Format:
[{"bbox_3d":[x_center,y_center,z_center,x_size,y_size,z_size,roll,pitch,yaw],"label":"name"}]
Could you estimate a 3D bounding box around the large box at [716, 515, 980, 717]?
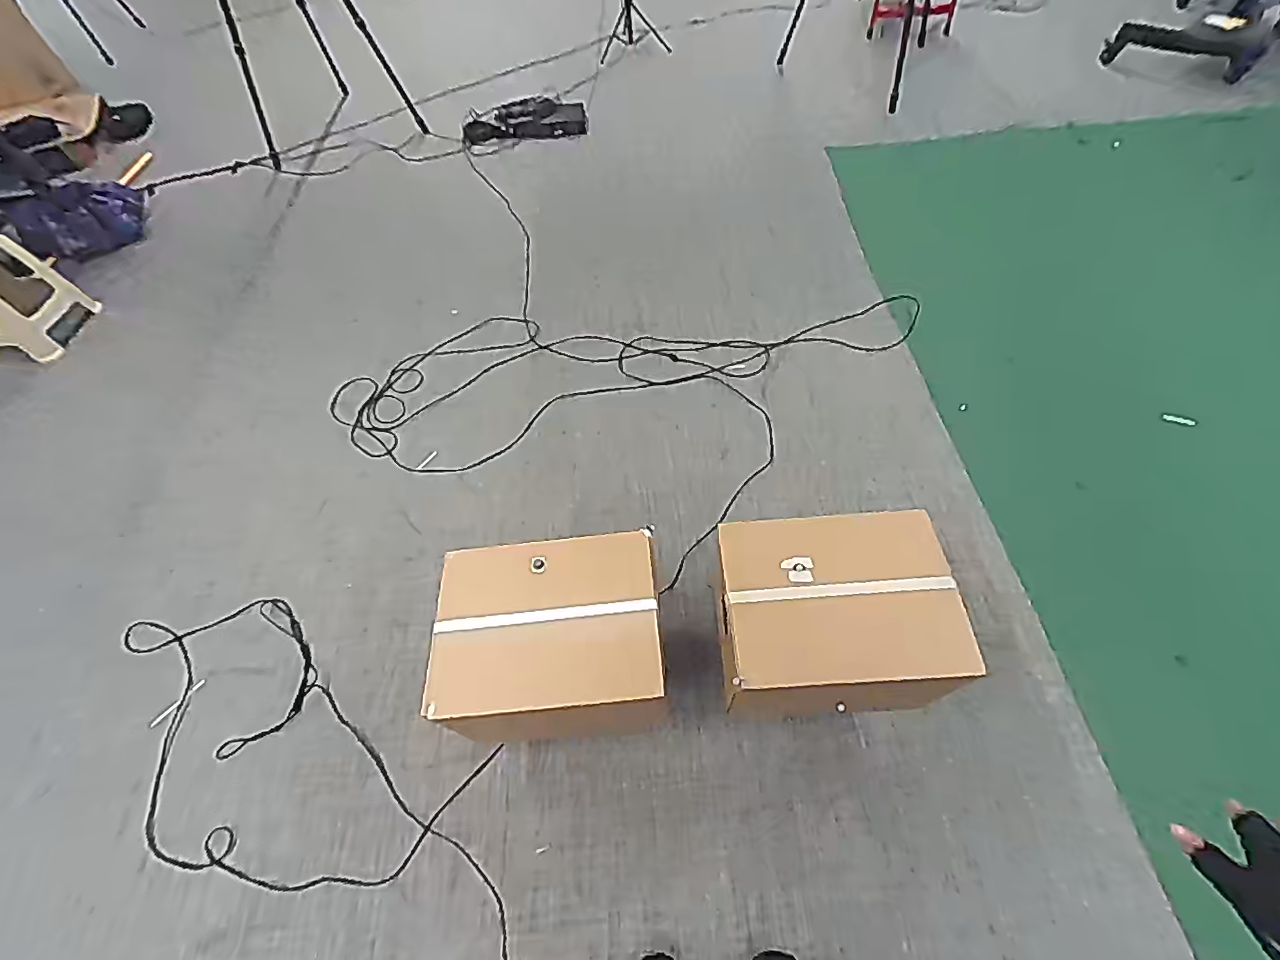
[{"bbox_3d":[0.377,0.291,1.110,0.408,0.320,0.320,-4,57,3],"label":"large box"}]
